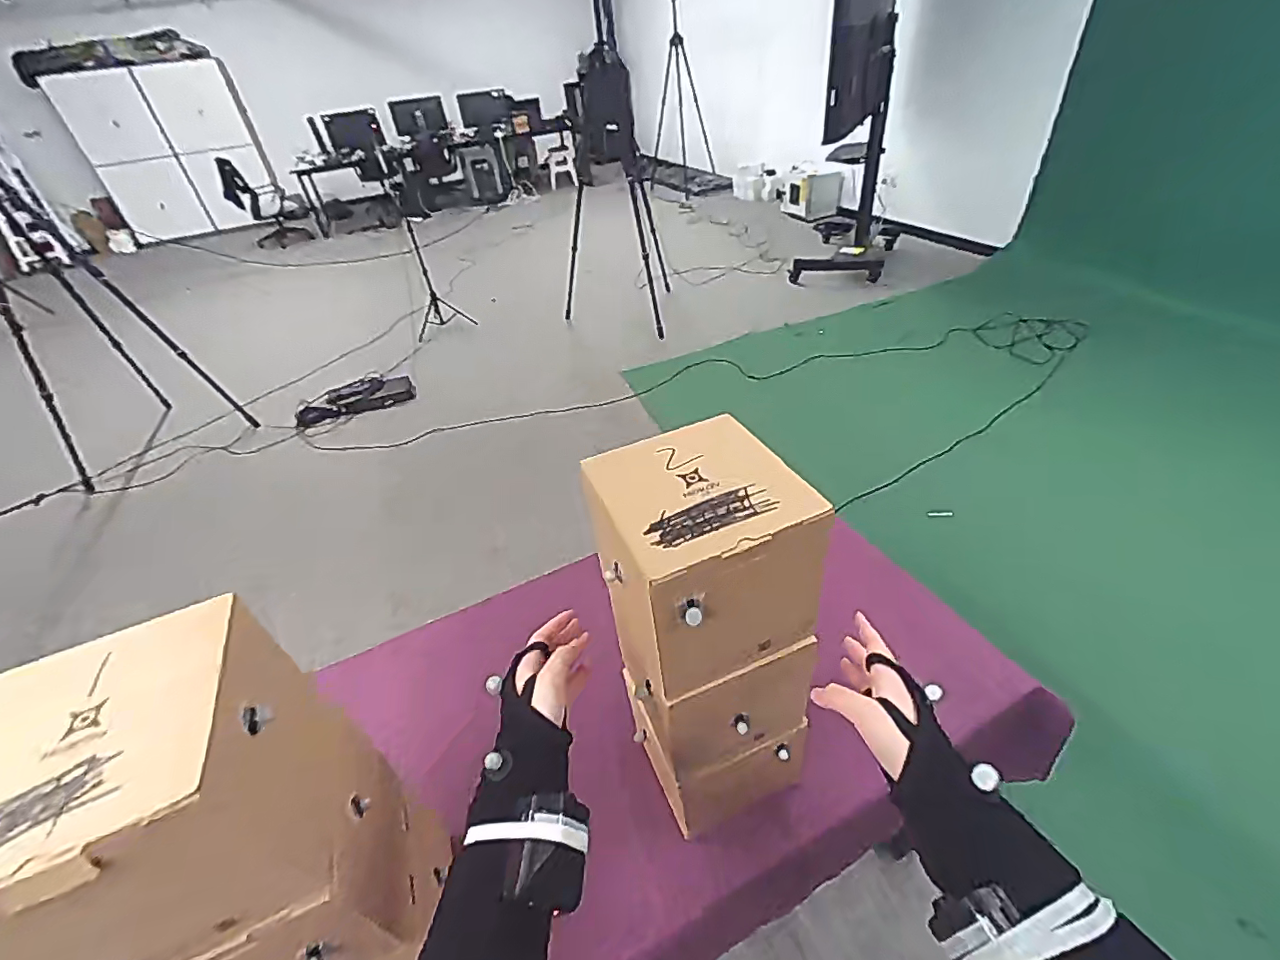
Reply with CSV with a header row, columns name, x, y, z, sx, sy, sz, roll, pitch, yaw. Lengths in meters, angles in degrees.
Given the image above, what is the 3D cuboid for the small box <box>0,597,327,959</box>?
name,x,y,z,sx,sy,sz,roll,pitch,yaw
small box,-0.355,0.229,0.403,0.168,0.176,0.179,-21,40,-16

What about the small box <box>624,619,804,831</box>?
name,x,y,z,sx,sy,sz,roll,pitch,yaw
small box,0.096,0.327,0.725,0.179,0.176,0.168,-20,40,-14

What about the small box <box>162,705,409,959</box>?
name,x,y,z,sx,sy,sz,roll,pitch,yaw
small box,-0.329,0.356,0.504,0.168,0.176,0.179,-19,39,-14

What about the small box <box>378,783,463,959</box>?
name,x,y,z,sx,sy,sz,roll,pitch,yaw
small box,-0.310,0.485,0.602,0.179,0.176,0.168,-20,40,-15
